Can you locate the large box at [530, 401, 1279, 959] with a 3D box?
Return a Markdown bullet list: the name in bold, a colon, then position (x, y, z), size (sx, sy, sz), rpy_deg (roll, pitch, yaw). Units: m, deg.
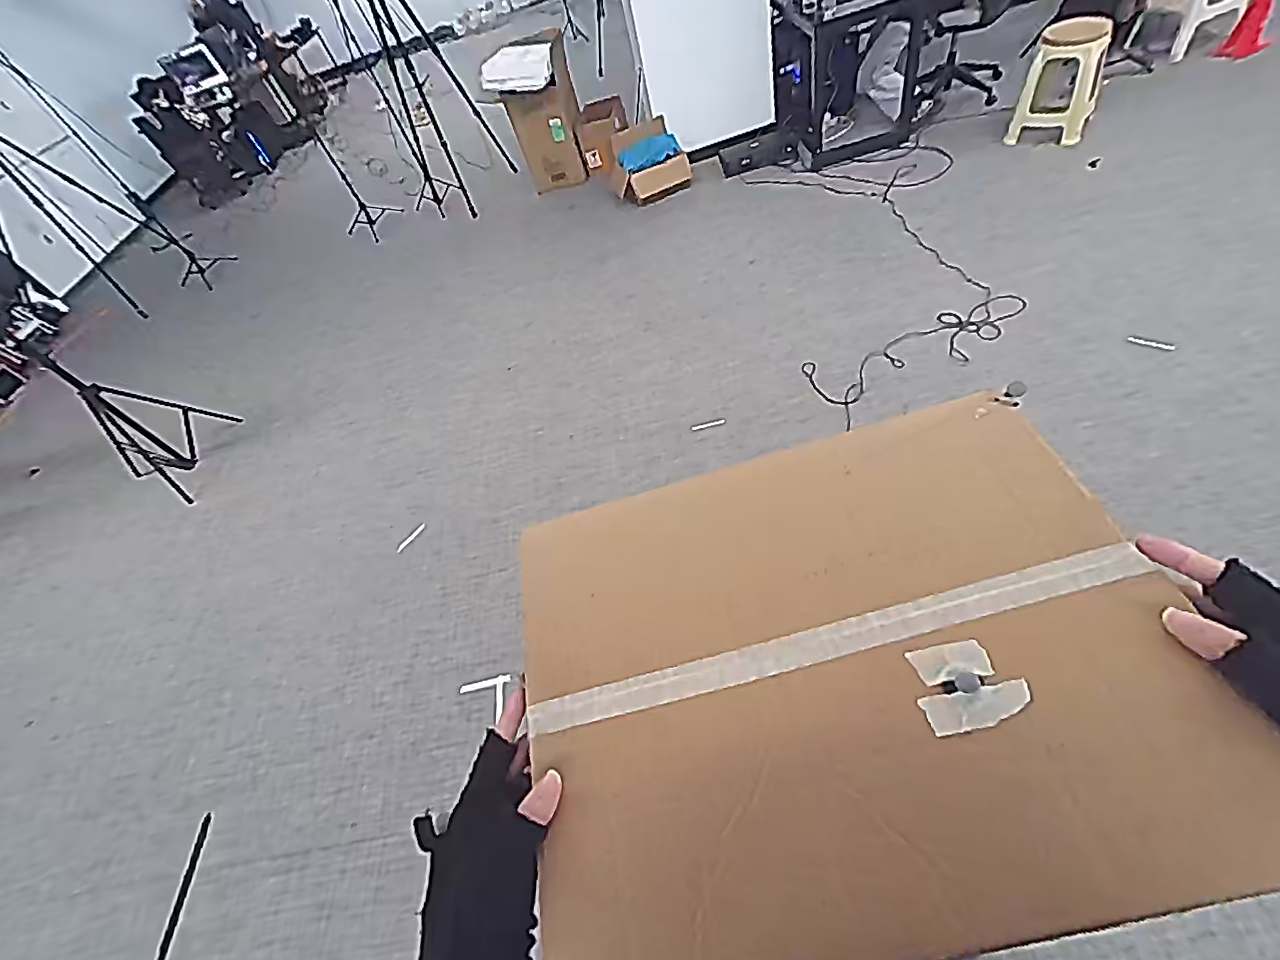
- **large box**: position (0.154, 0.194, 0.483), size (0.408, 0.320, 0.320), rpy_deg (-17, 54, 4)
